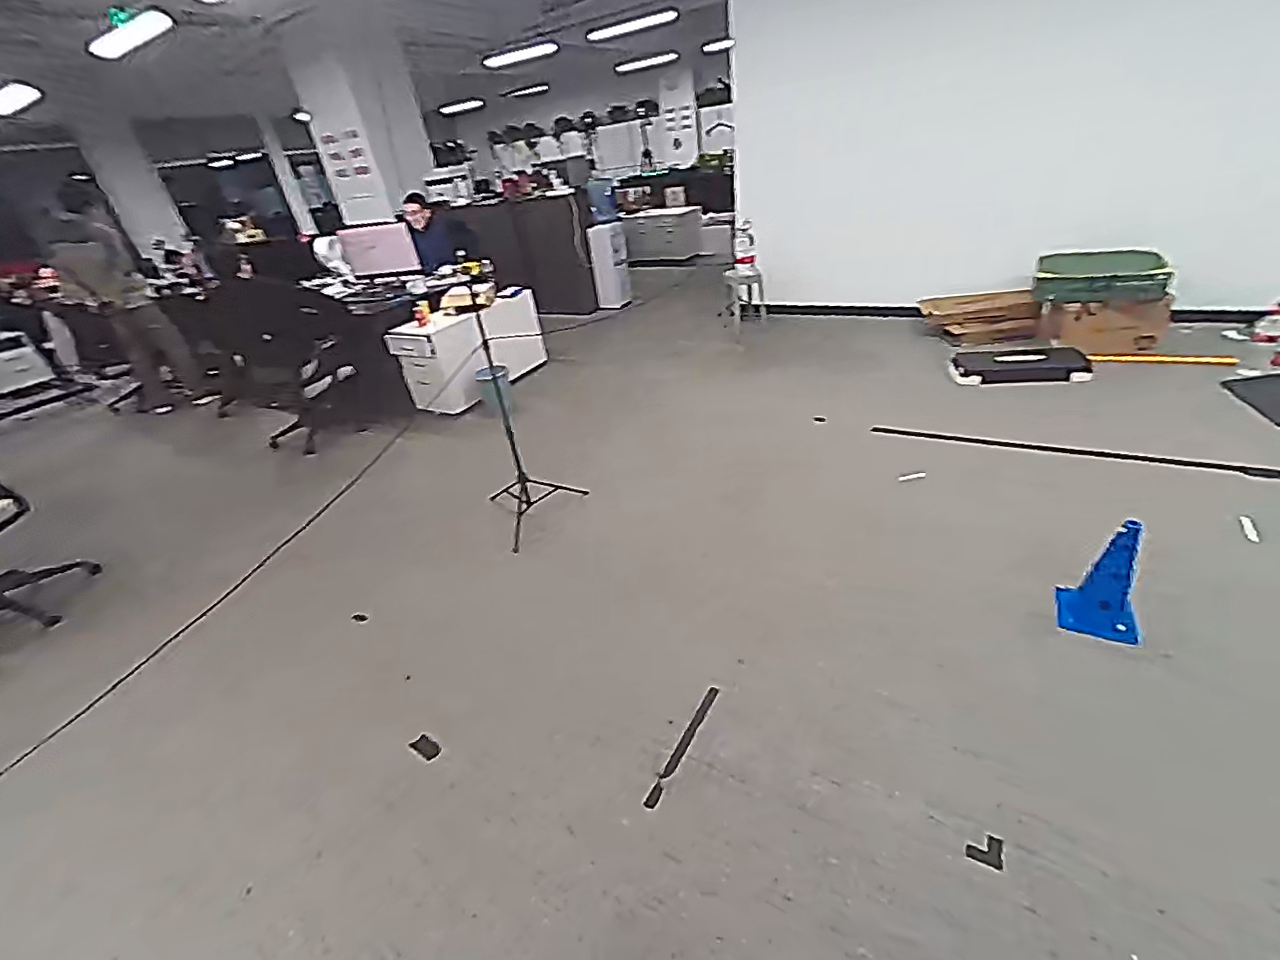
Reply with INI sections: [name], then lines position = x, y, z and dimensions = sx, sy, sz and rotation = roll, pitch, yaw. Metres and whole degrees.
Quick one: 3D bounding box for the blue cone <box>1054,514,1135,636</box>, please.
[blue cone]
position = 1.381, 0.263, 1.594
dimensions = 0.192, 0.380, 0.193
rotation = 11, 37, 30
